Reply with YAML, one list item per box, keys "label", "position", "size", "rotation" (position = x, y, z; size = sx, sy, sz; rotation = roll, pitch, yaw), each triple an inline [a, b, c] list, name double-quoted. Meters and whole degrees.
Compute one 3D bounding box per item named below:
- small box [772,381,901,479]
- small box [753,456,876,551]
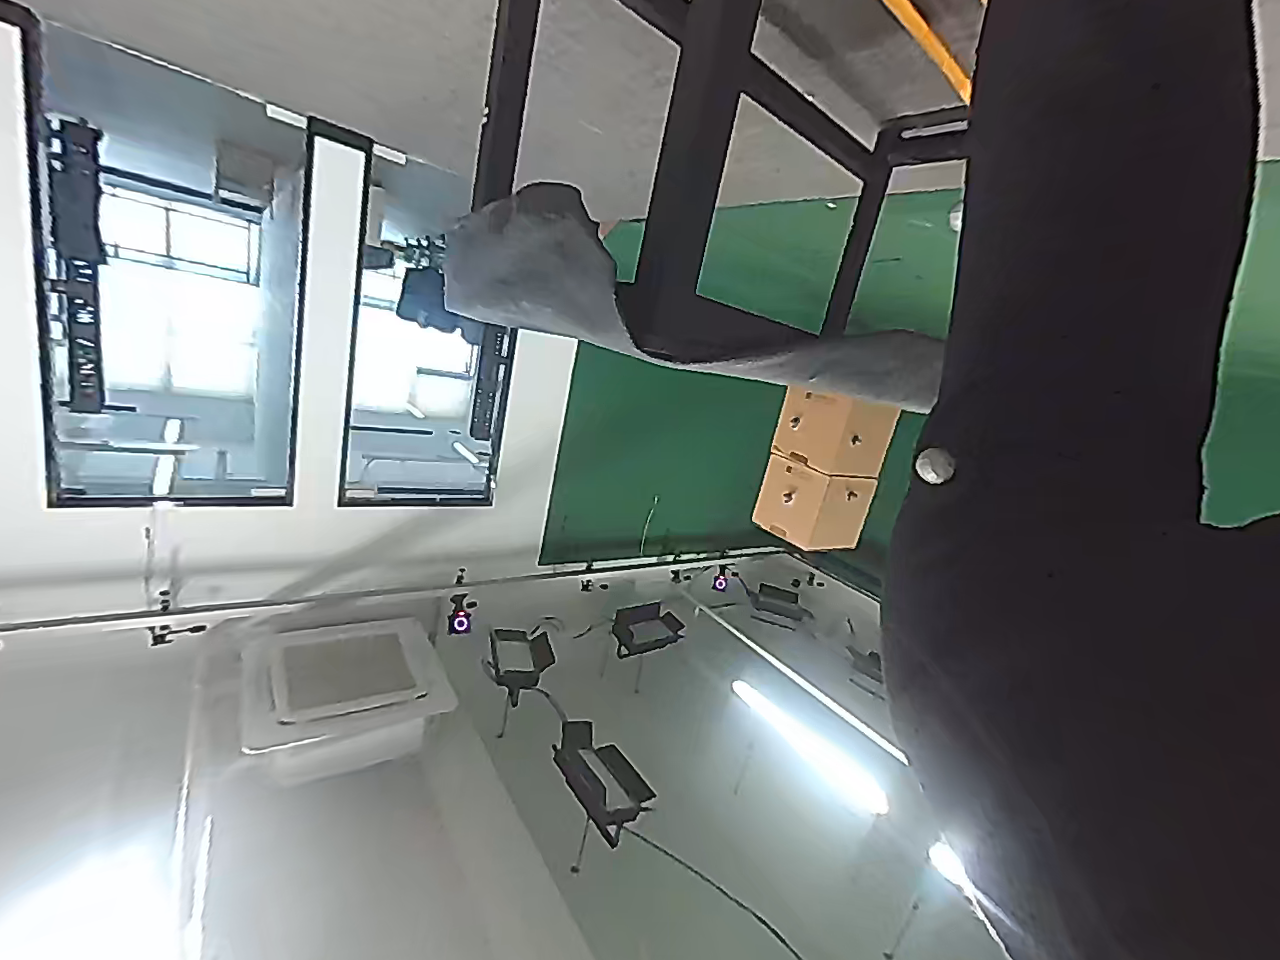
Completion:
- label: "small box"
  position: [0.419, -0.110, 1.157]
  size: [0.179, 0.176, 0.168]
  rotation: [2, -162, -35]
- label: "small box"
  position: [0.386, 0.046, 1.200]
  size: [0.179, 0.176, 0.168]
  rotation: [3, -162, -36]
